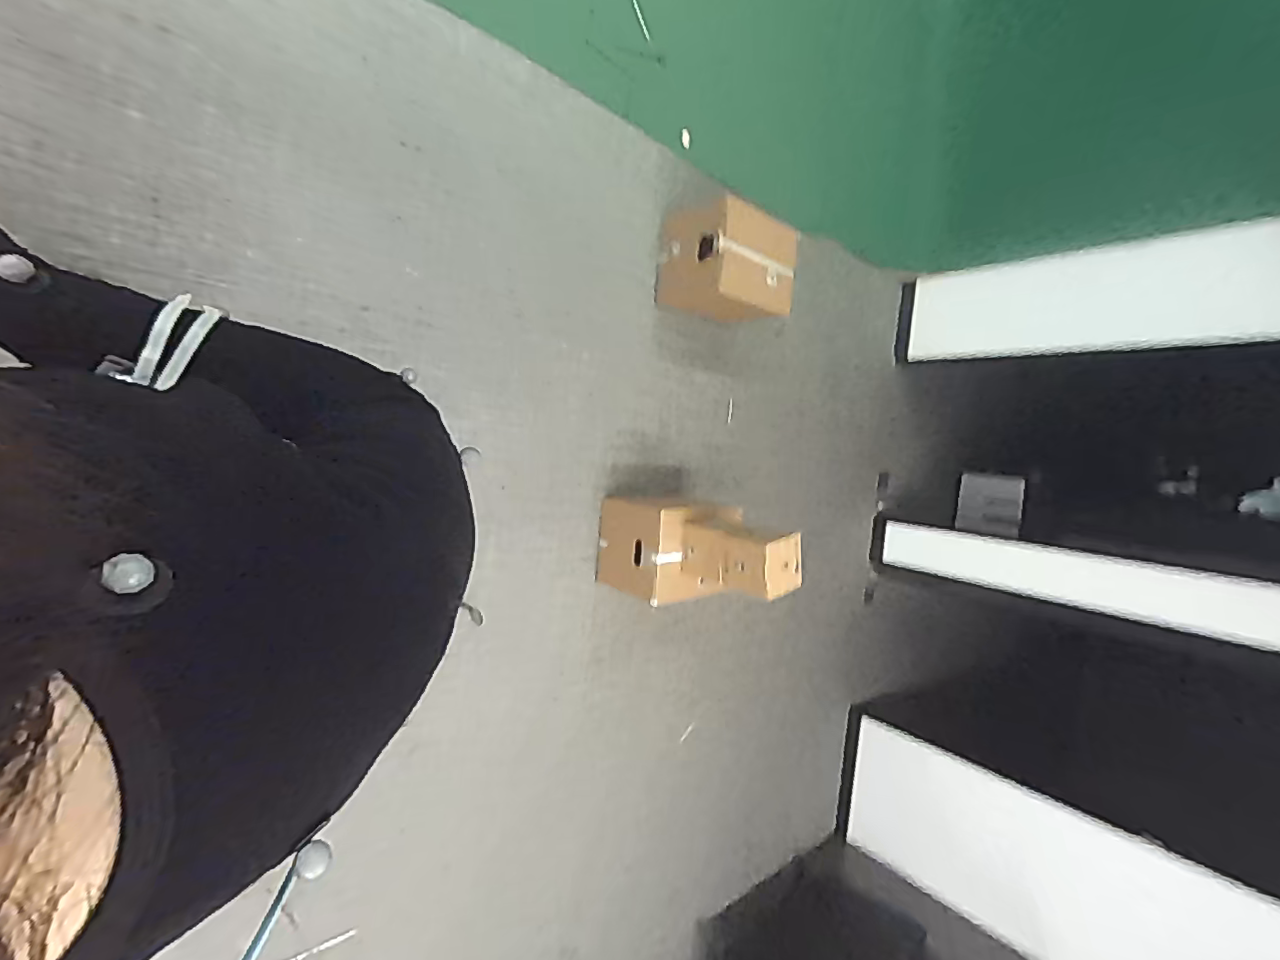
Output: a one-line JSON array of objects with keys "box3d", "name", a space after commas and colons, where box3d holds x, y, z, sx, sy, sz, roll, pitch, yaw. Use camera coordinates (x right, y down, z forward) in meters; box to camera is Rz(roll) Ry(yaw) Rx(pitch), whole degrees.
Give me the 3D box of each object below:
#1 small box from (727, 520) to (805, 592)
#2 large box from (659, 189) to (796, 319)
[{"box3d": [0.376, 0.223, 1.634, 0.179, 0.176, 0.168, -10, 101, -38], "name": "small box"}, {"box3d": [0.318, -0.797, 1.973, 0.408, 0.320, 0.320, 0, 96, -41], "name": "large box"}]
